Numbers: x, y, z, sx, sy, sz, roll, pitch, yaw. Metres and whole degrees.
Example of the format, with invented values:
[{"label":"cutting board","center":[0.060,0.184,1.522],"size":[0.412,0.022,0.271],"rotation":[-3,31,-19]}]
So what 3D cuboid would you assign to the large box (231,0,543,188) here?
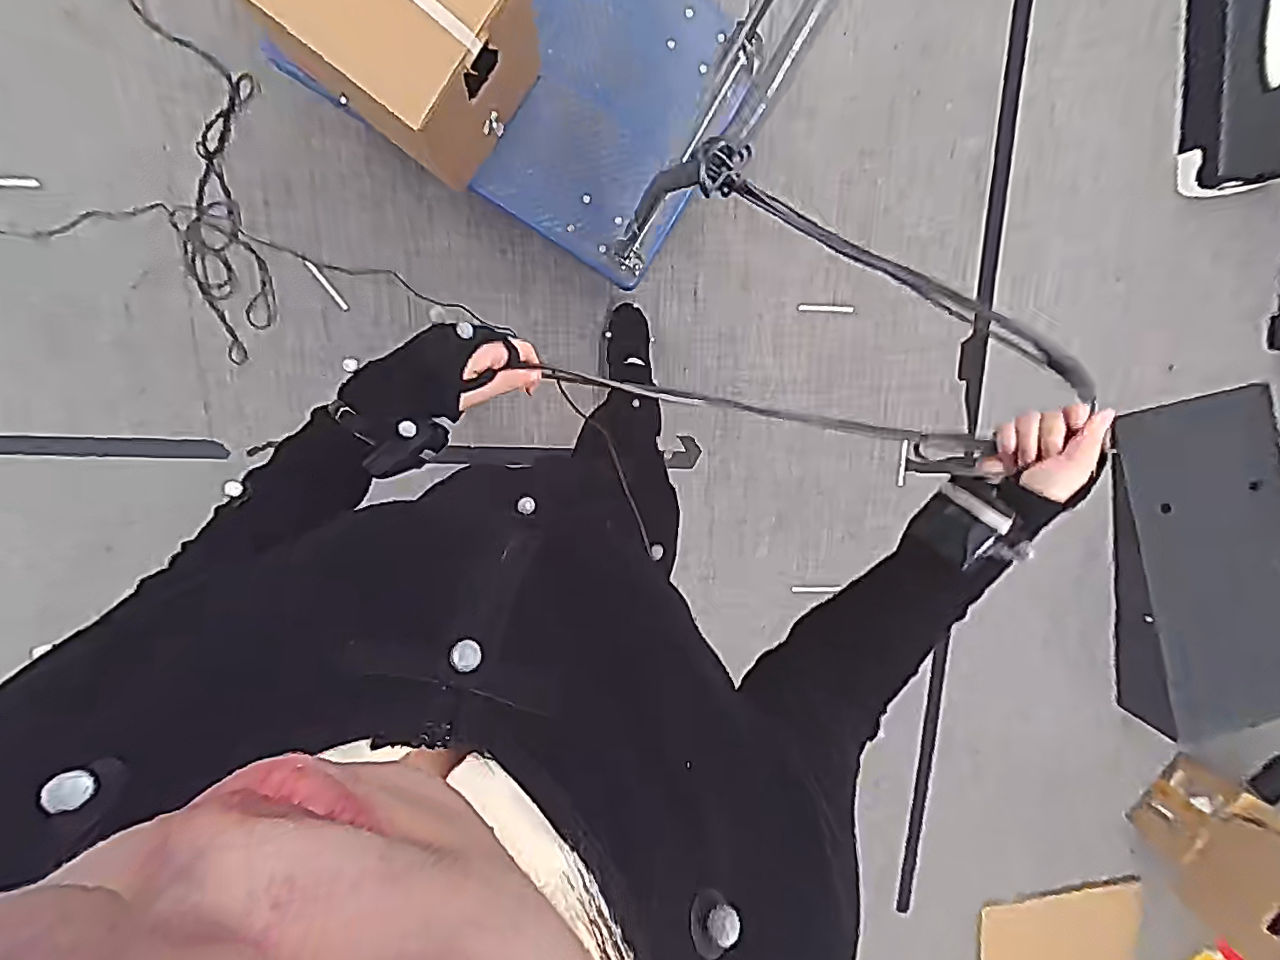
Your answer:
[{"label":"large box","center":[-0.428,-0.804,0.934],"size":[0.408,0.320,0.320],"rotation":[36,95,-11]}]
